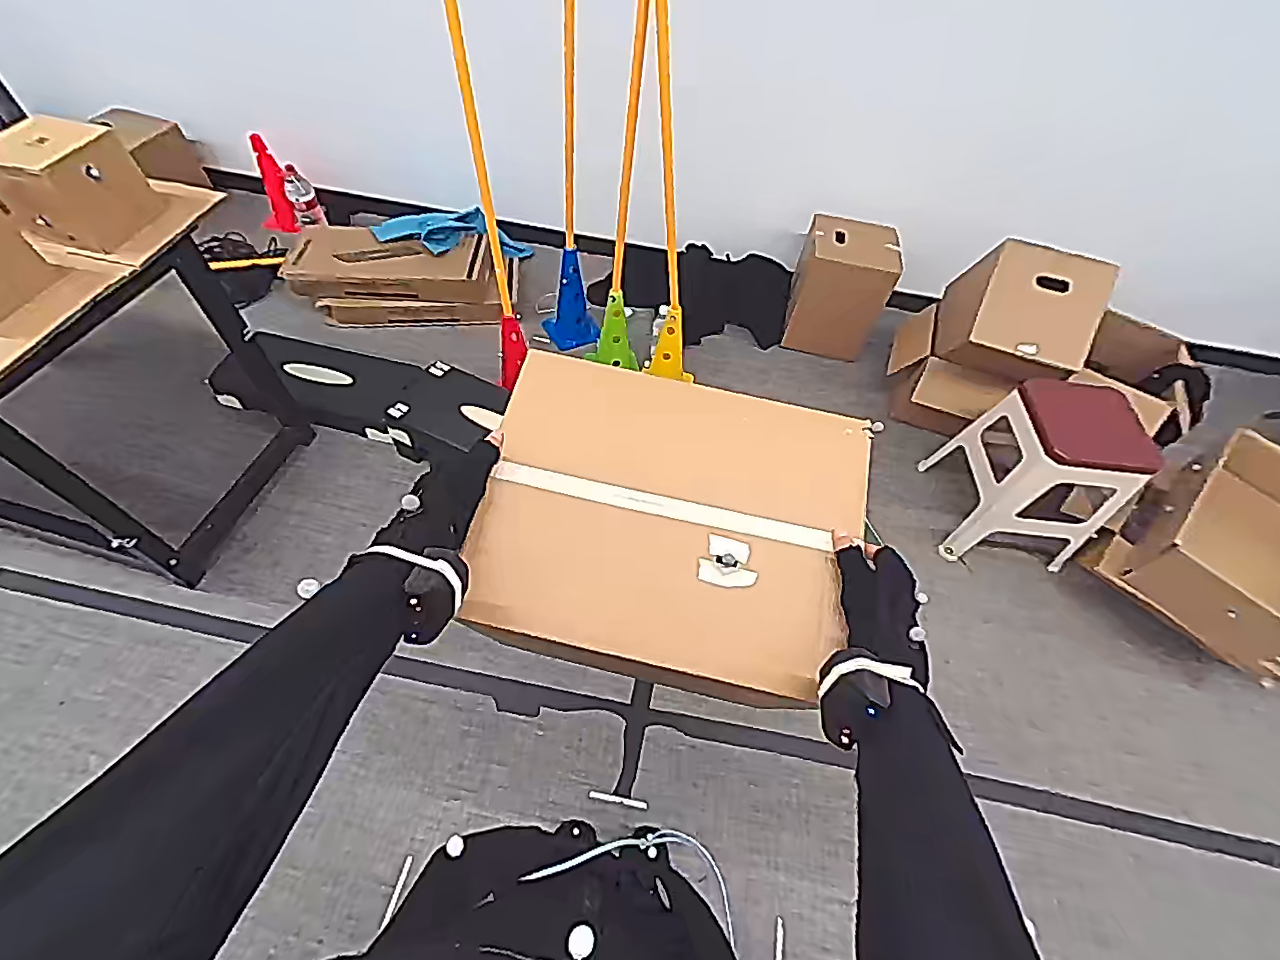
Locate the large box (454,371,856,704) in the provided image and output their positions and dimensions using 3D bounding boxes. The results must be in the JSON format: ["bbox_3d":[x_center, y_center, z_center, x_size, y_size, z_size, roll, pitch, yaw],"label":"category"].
[{"bbox_3d":[0.024,0.099,0.728,0.408,0.320,0.320,13,68,1],"label":"large box"}]
